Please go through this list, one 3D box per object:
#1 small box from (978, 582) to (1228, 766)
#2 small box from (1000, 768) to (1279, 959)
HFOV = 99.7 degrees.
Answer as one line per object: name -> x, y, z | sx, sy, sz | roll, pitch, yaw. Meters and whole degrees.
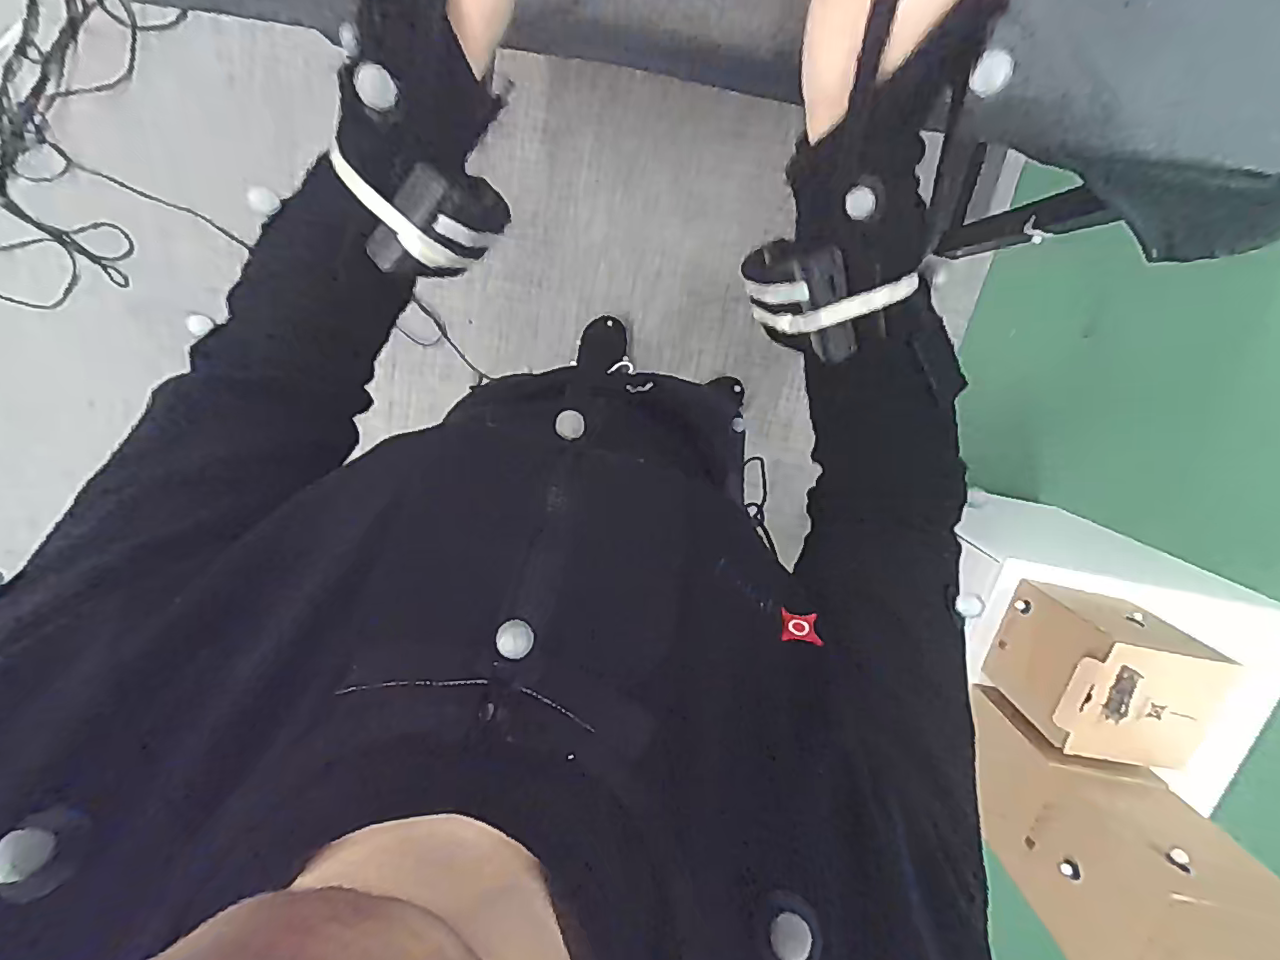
small box -> 0.623, 0.260, 0.758 | 0.179, 0.176, 0.168 | 11, 106, -5
small box -> 0.584, 0.481, 0.647 | 0.179, 0.176, 0.168 | 12, 104, -4
